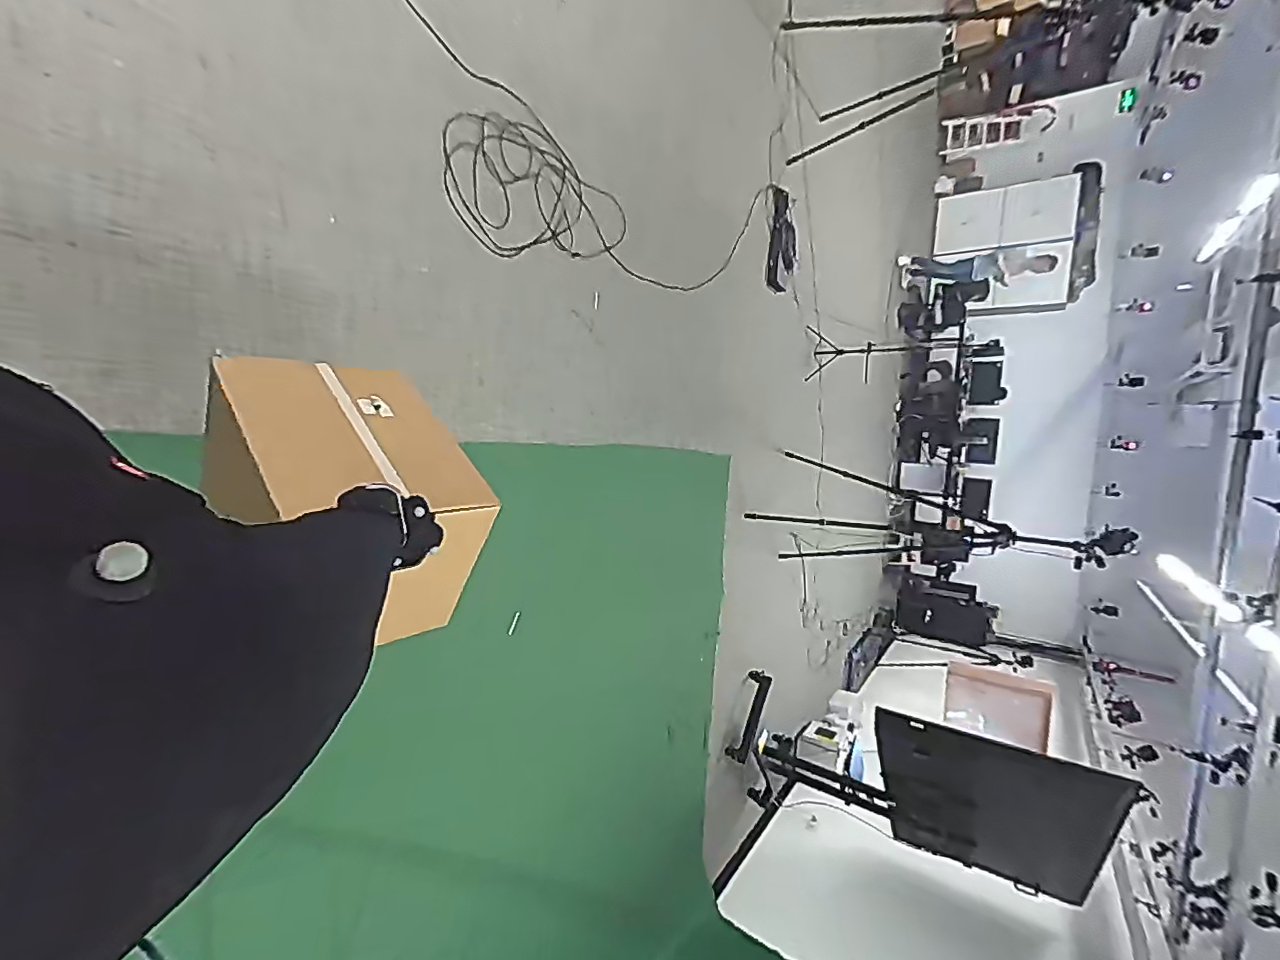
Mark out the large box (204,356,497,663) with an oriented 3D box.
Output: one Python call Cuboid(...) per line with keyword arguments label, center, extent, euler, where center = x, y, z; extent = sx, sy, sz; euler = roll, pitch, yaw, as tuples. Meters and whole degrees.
Cuboid(label="large box", center=(-0.521, 0.032, 0.950), extent=(0.320, 0.408, 0.320), euler=(-6, 134, -50))
